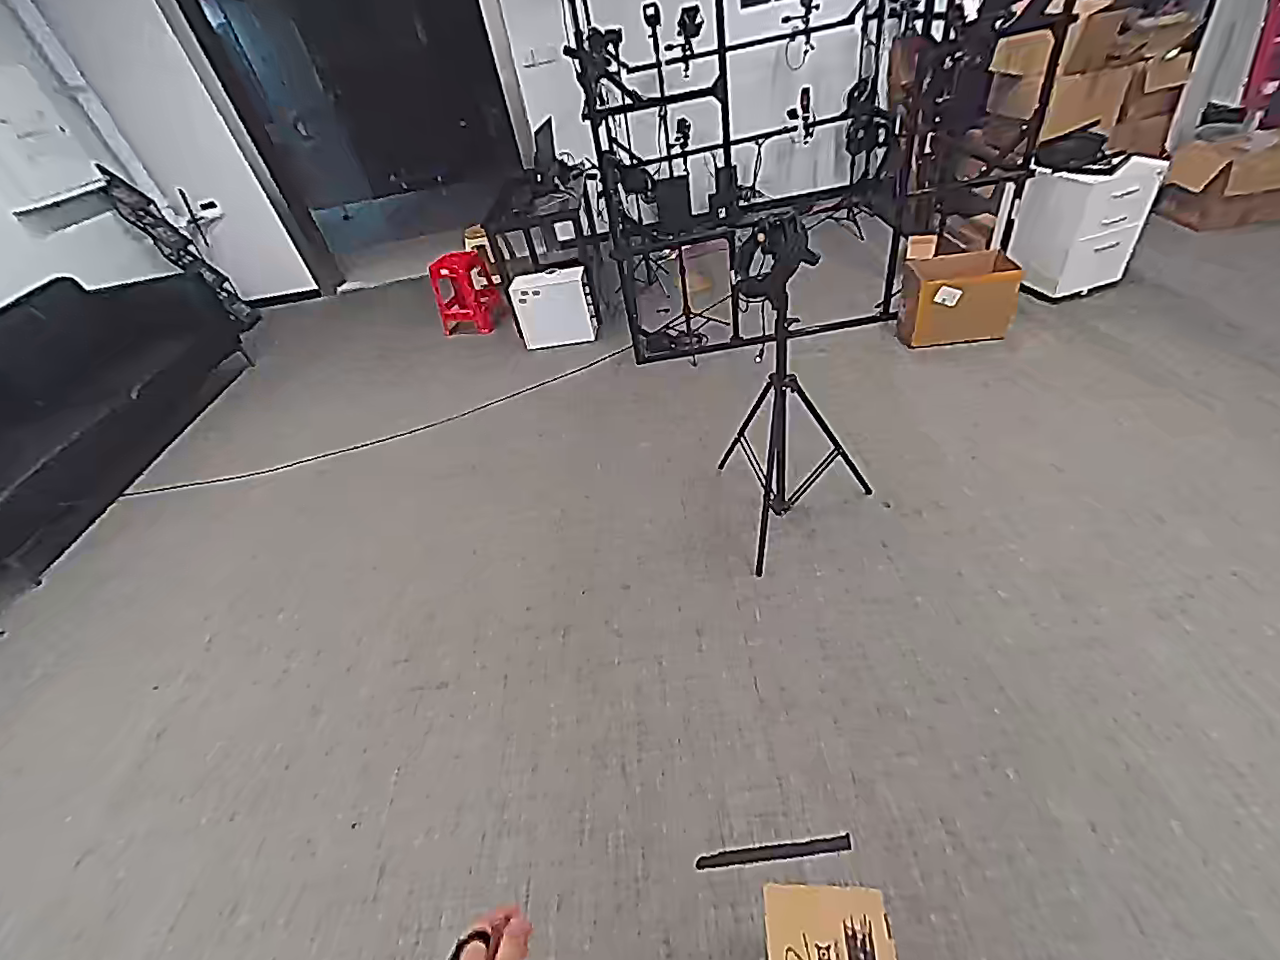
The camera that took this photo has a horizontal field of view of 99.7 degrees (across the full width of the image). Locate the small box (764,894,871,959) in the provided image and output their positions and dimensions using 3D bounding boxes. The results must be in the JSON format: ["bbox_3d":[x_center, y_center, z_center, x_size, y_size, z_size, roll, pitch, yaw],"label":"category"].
[{"bbox_3d":[0.304,0.841,0.929,0.168,0.176,0.179,-6,41,8],"label":"small box"}]
